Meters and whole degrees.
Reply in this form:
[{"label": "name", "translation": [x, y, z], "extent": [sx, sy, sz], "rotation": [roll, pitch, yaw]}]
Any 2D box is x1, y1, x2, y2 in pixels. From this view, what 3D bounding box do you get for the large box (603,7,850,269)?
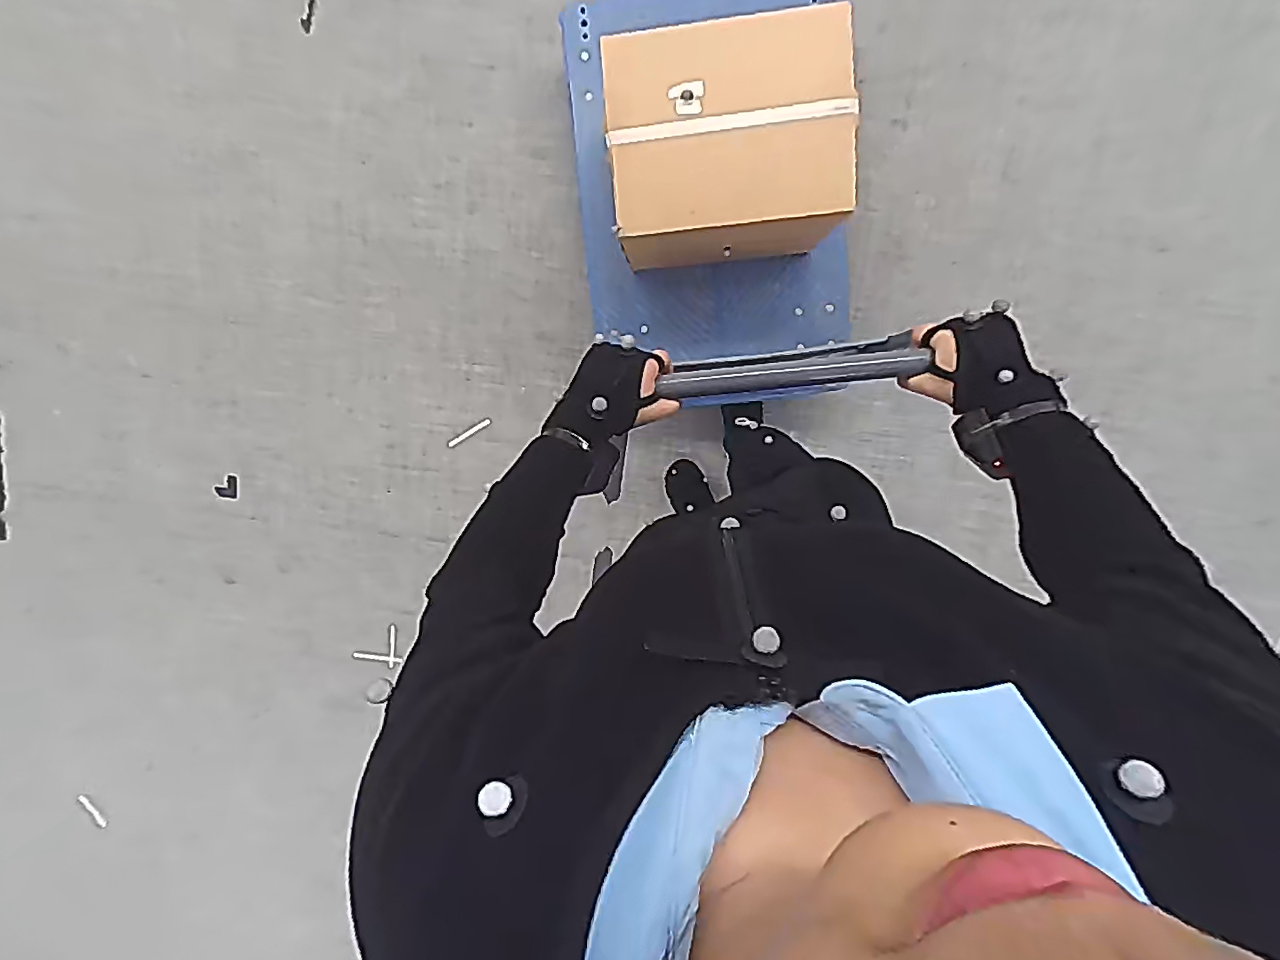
[{"label": "large box", "translation": [0.162, -0.624, 1.063], "extent": [0.408, 0.320, 0.320], "rotation": [-5, 99, 6]}]
